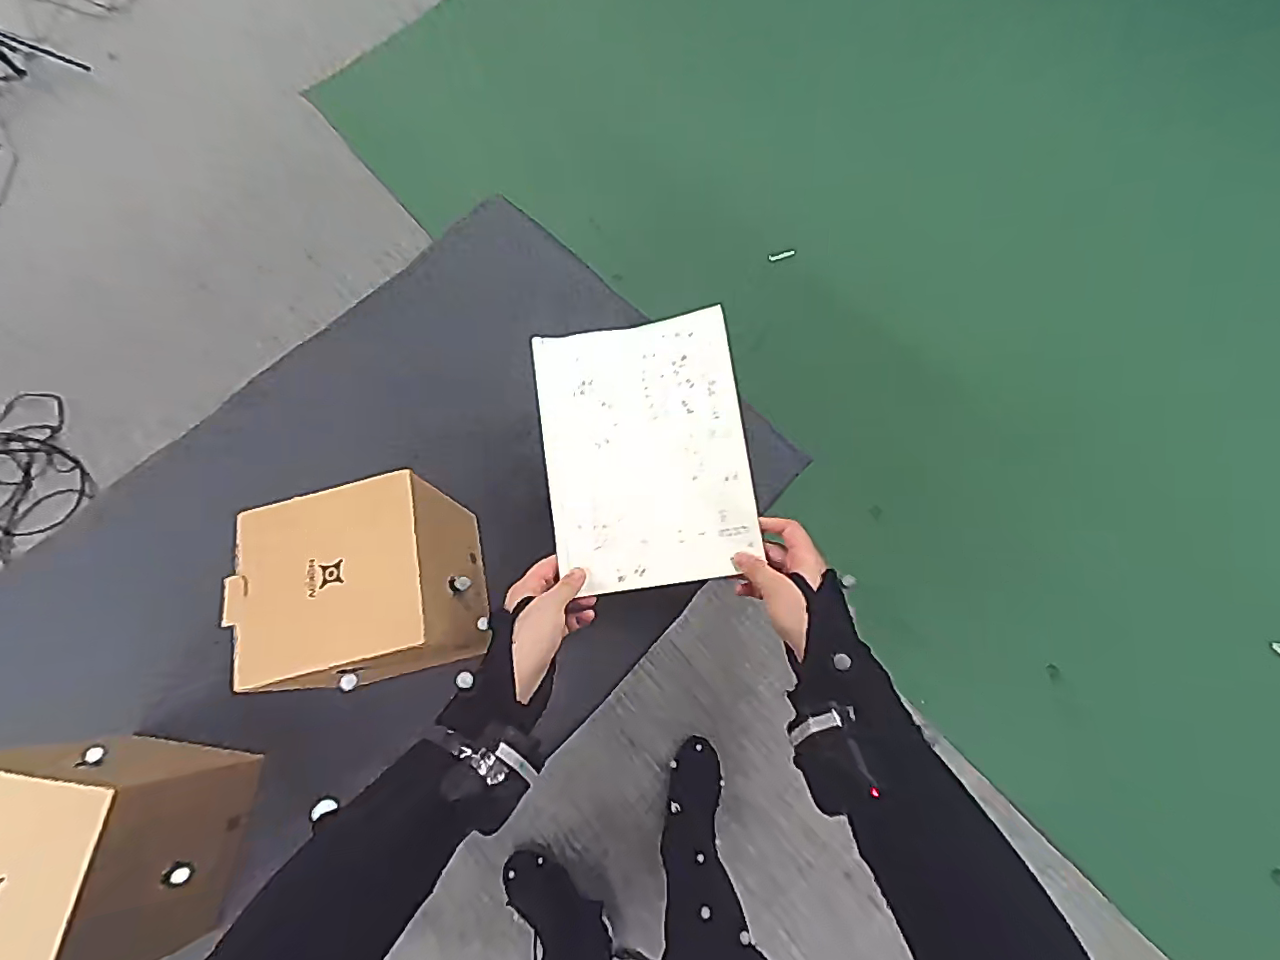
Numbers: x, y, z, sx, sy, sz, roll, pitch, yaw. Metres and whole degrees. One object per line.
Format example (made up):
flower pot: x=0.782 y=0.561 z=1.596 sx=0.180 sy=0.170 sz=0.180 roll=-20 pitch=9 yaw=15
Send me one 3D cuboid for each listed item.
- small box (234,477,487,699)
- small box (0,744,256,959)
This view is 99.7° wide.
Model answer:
small box: x=-0.271 y=0.115 z=0.558 sx=0.179 sy=0.176 sz=0.168 roll=-15 pitch=71 yaw=2
small box: x=-0.512 y=0.355 z=0.503 sx=0.179 sy=0.176 sz=0.168 roll=4 pitch=72 yaw=7
